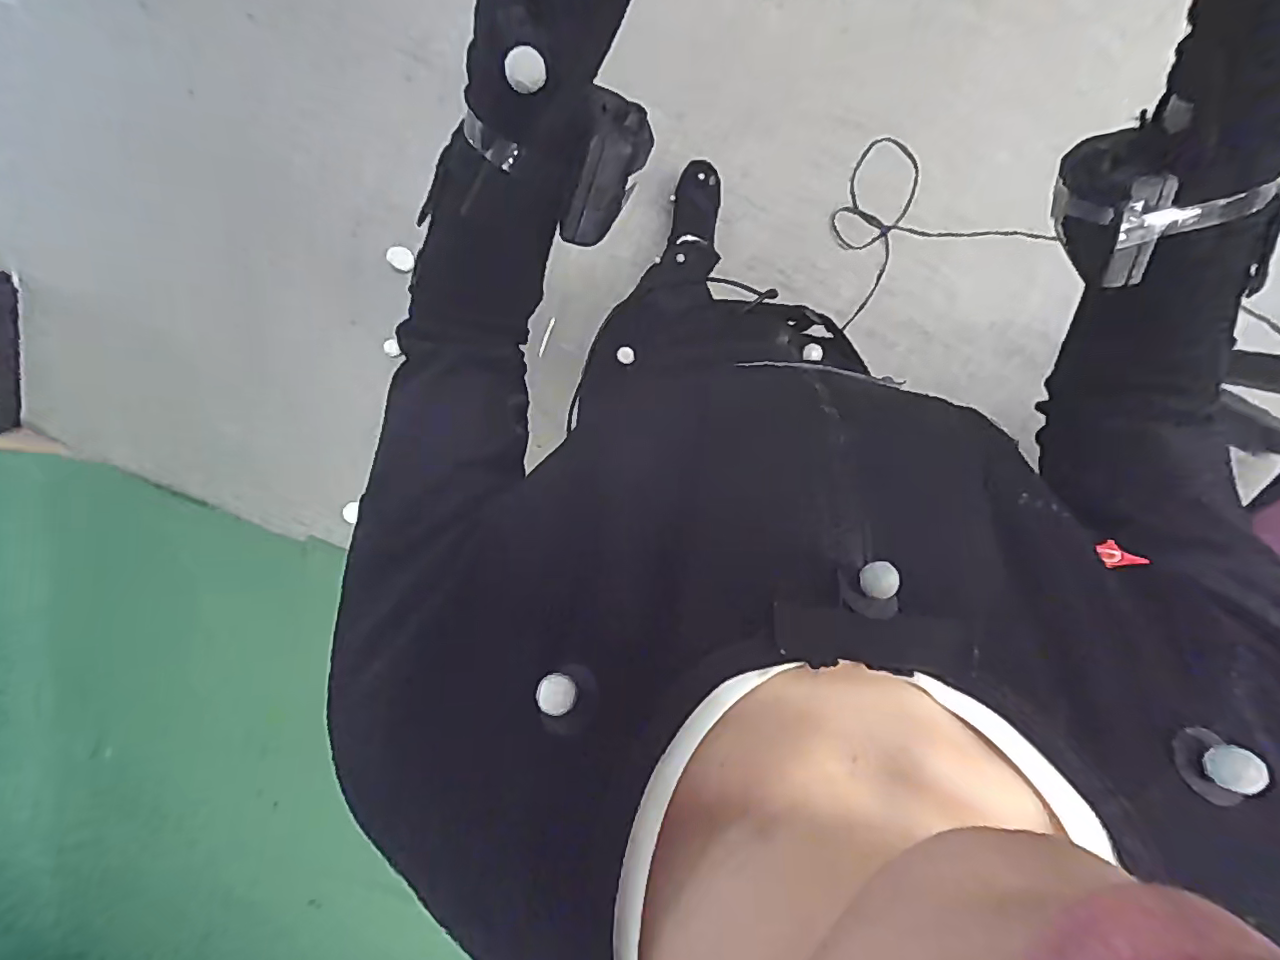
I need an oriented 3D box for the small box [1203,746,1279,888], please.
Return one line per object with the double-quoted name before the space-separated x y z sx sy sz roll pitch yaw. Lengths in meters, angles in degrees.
"small box" 0.963 0.502 0.736 0.179 0.176 0.168 30 110 -5
